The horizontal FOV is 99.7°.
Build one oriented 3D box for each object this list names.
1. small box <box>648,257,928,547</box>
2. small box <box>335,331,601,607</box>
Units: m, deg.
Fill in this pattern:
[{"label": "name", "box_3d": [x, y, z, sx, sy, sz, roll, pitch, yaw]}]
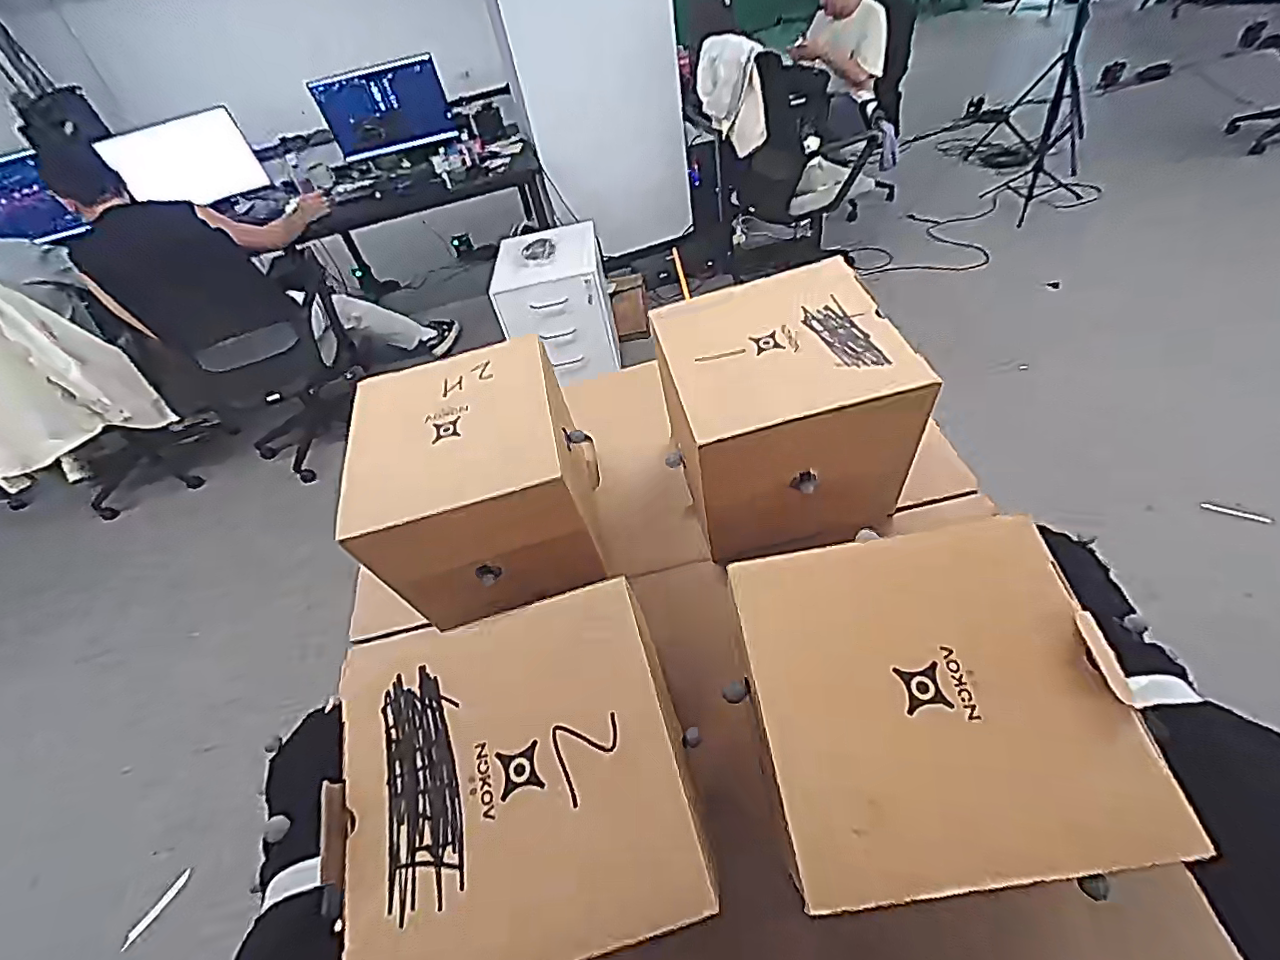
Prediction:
[{"label": "small box", "box_3d": [0.117, -0.063, 0.486, 0.179, 0.176, 0.168, -15, 52, 2]}, {"label": "small box", "box_3d": [-0.139, -0.001, 0.495, 0.168, 0.176, 0.179, -15, 51, 0]}]
